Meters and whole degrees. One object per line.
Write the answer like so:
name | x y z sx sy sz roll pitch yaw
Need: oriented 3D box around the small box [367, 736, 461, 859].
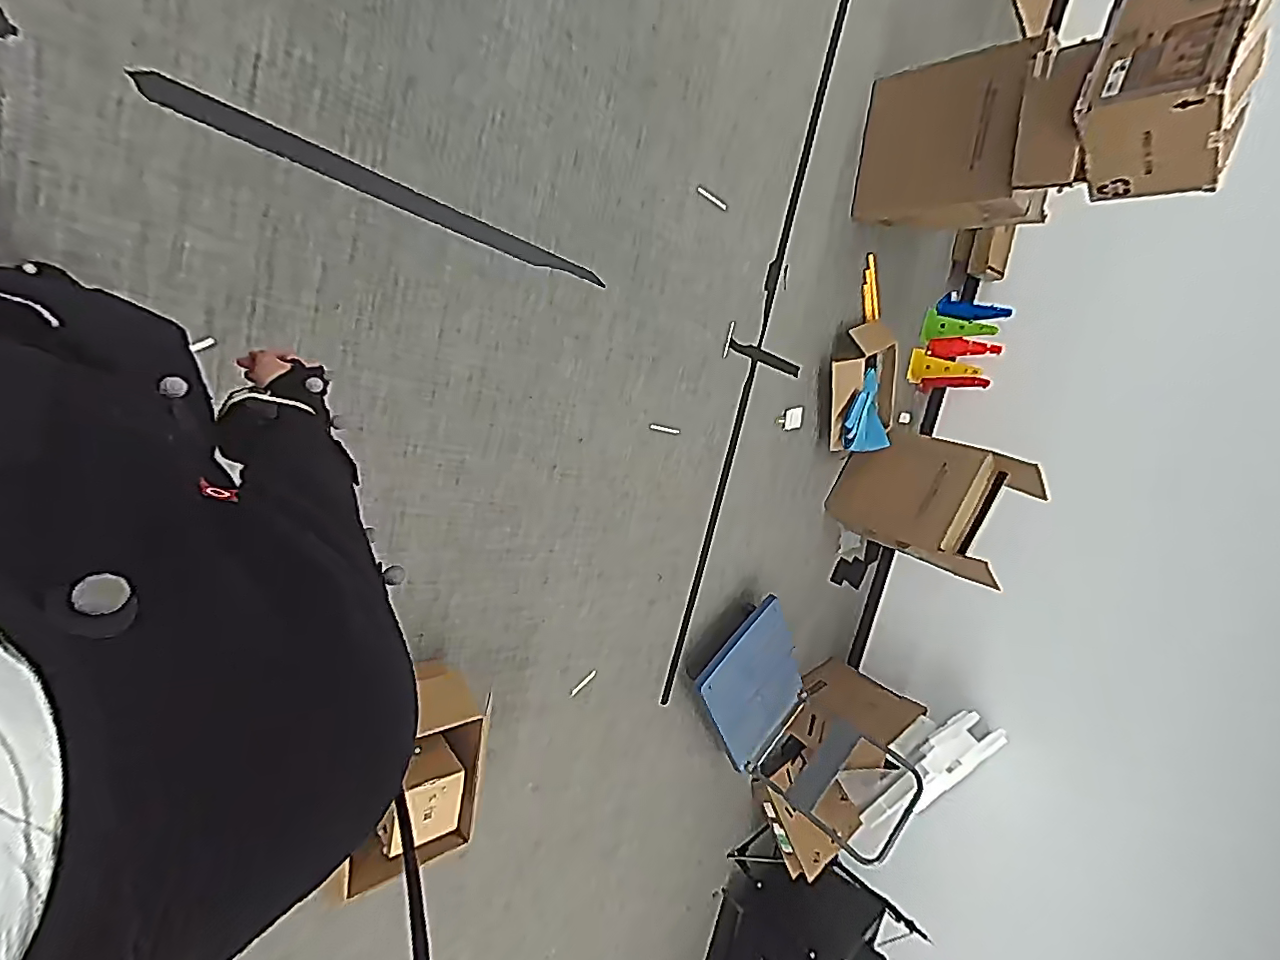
small box | -0.573 0.787 1.361 0.168 0.176 0.179 2 103 -44
